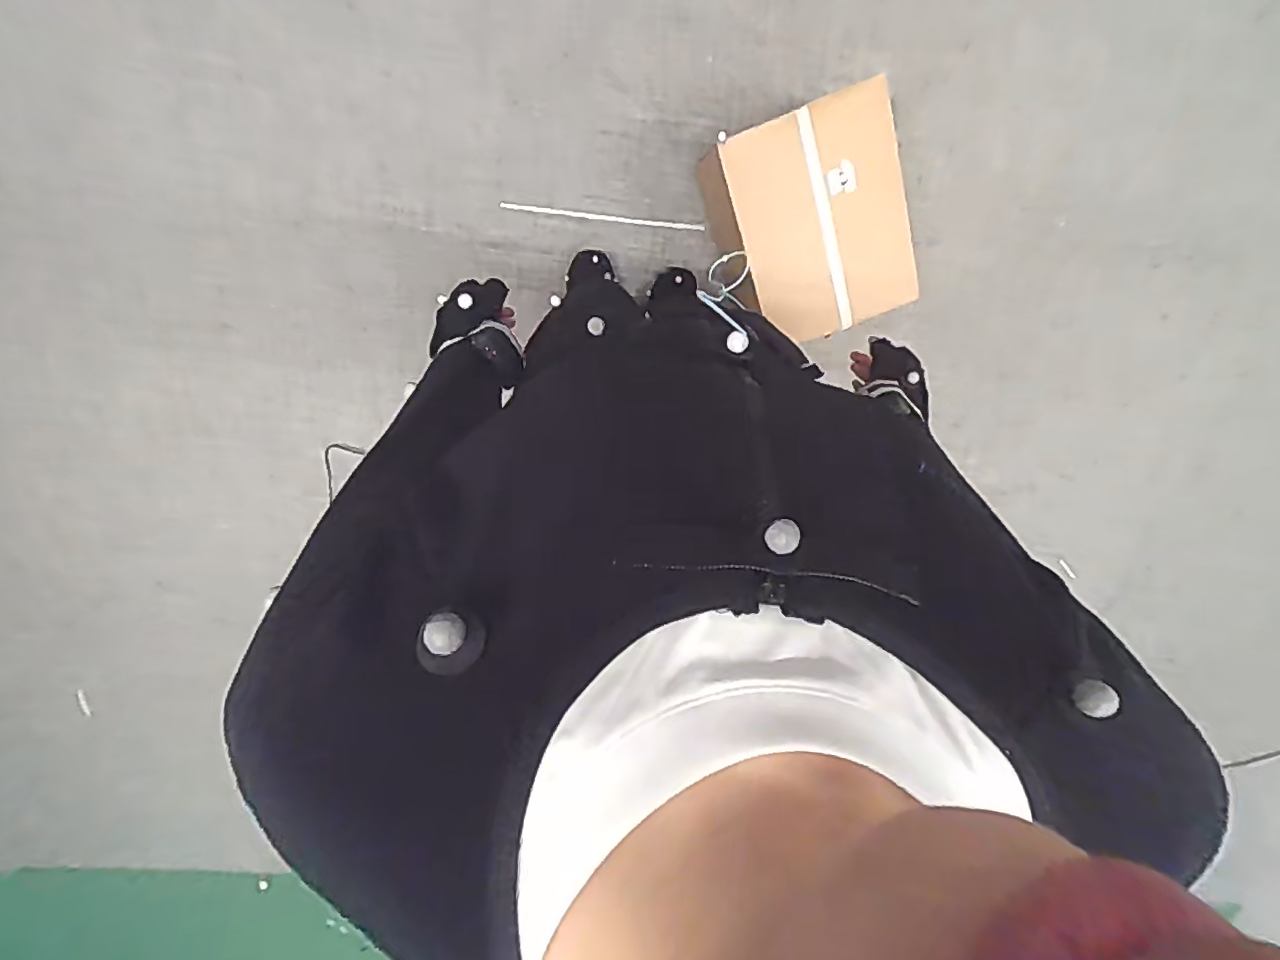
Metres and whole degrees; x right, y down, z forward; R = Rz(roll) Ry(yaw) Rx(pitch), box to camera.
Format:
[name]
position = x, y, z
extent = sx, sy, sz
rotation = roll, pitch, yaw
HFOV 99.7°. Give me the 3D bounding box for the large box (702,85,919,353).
[large box]
position = 0.355, -0.540, 1.185
extent = 0.320, 0.320, 0.408
rotation = -20, 111, 6
